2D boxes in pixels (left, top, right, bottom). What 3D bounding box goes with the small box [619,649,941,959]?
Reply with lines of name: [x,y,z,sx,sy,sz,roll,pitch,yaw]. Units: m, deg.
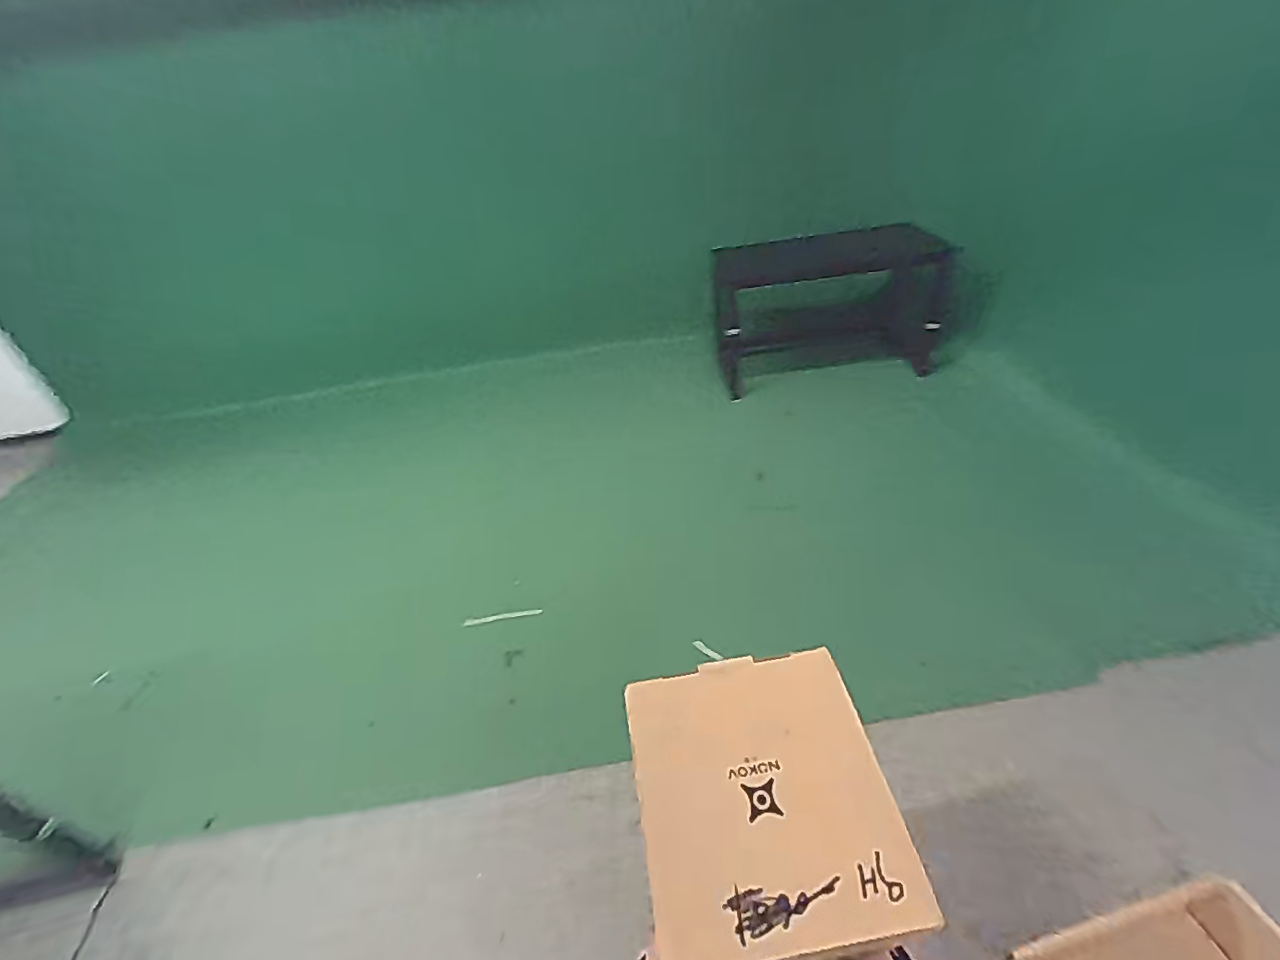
small box: [0.081,0.259,0.408,0.168,0.176,0.179,-10,44,-2]
